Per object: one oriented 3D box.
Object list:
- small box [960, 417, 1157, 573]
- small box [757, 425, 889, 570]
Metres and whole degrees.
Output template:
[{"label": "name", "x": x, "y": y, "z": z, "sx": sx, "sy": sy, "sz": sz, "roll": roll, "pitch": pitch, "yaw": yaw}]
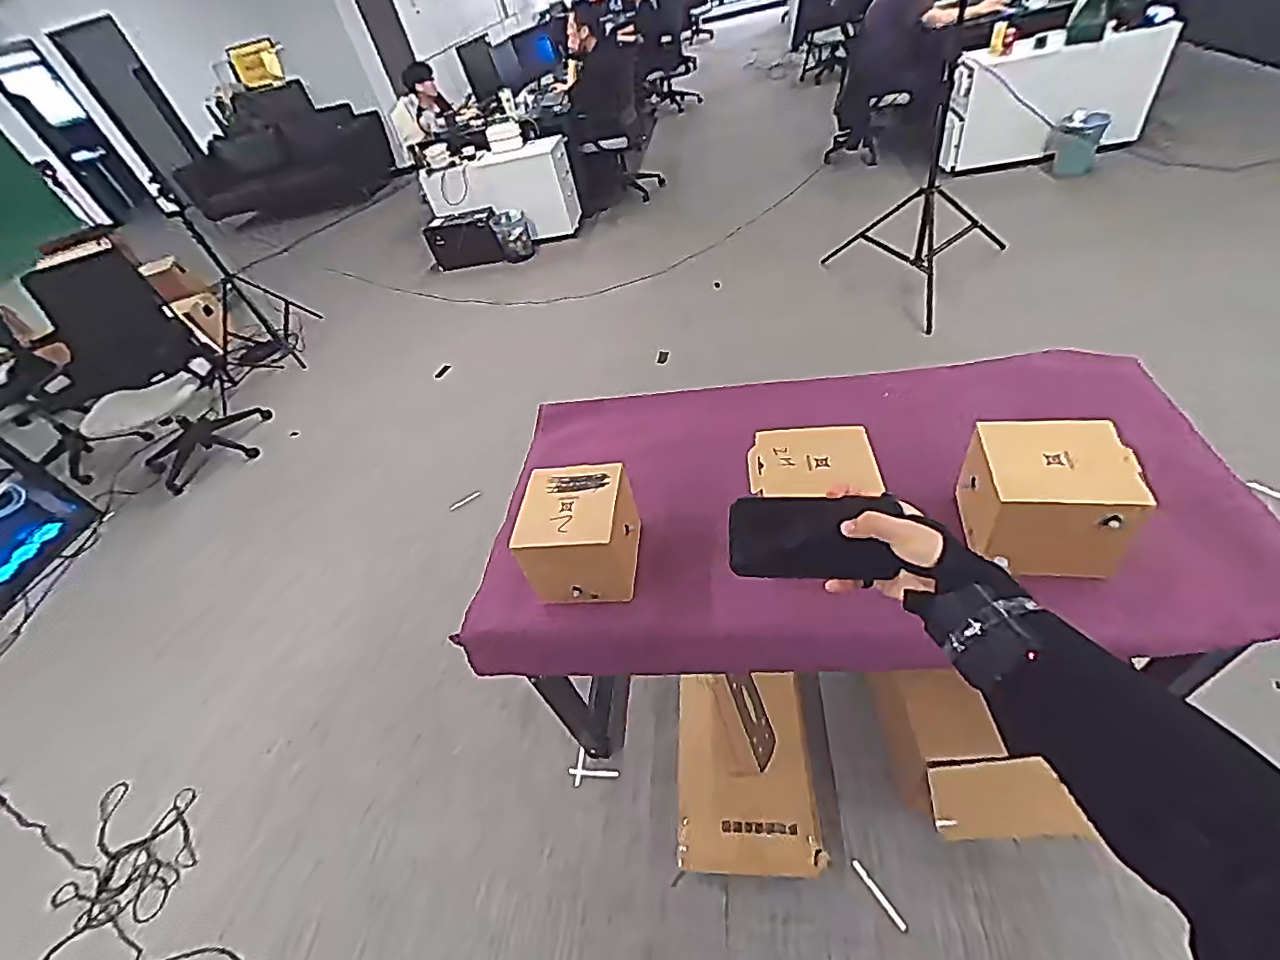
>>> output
[{"label": "small box", "x": 0.596, "y": 0.024, "z": 0.805, "sx": 0.179, "sy": 0.176, "sz": 0.168, "roll": 1, "pitch": 47, "yaw": 16}, {"label": "small box", "x": 0.286, "y": 0.032, "z": 0.882, "sx": 0.179, "sy": 0.176, "sz": 0.168, "roll": -5, "pitch": 43, "yaw": 11}]
